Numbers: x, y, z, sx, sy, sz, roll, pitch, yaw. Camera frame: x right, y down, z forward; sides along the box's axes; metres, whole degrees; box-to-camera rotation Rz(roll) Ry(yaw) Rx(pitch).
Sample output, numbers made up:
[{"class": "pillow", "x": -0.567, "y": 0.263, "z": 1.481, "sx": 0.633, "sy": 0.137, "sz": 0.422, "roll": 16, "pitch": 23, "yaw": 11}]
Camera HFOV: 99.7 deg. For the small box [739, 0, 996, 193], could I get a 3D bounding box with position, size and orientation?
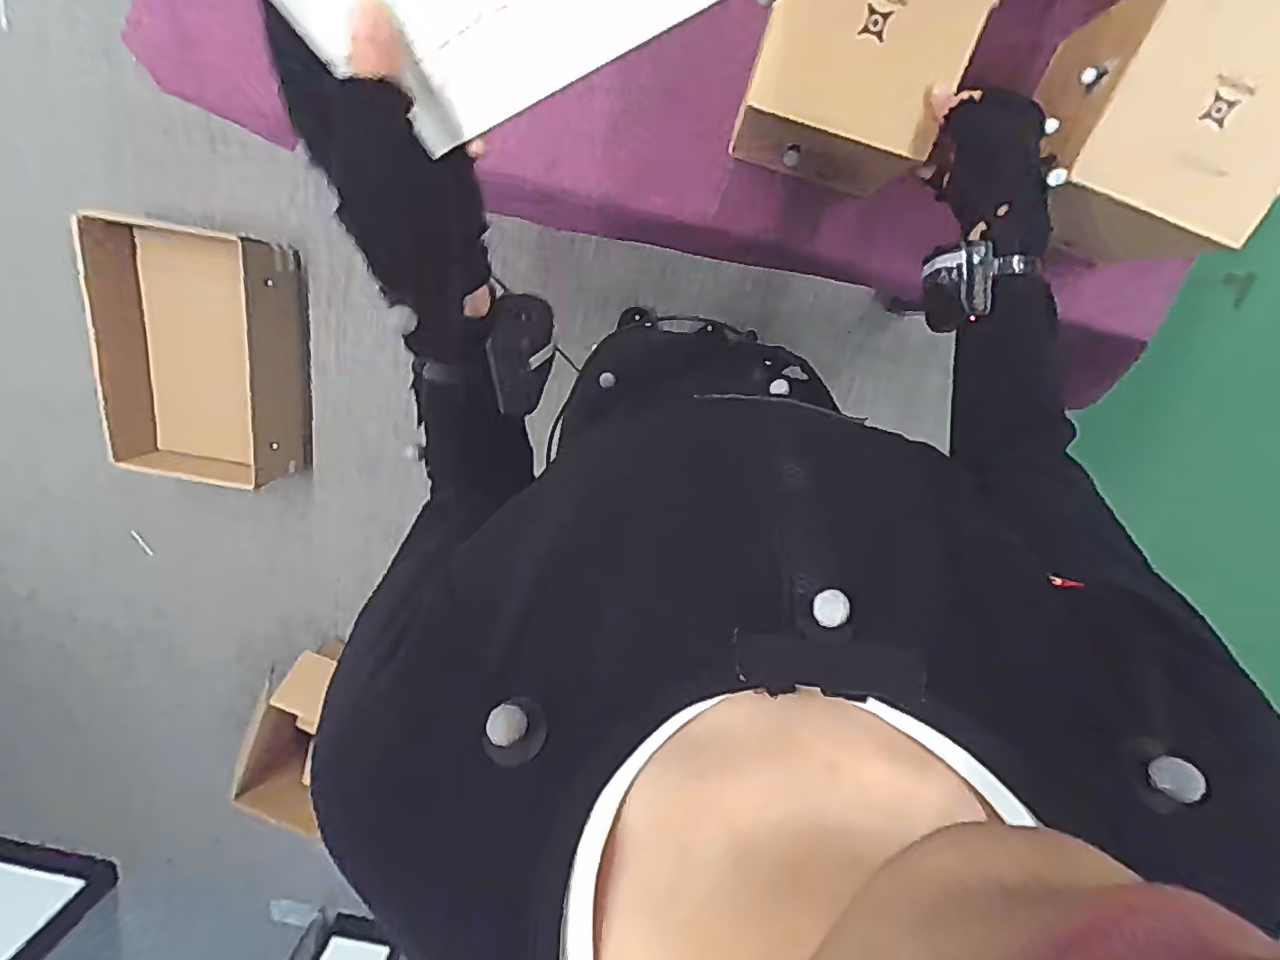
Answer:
[{"class": "small box", "x": 0.200, "y": -0.397, "z": 0.513, "sx": 0.168, "sy": 0.176, "sz": 0.179, "roll": 17, "pitch": 108, "yaw": -2}]
